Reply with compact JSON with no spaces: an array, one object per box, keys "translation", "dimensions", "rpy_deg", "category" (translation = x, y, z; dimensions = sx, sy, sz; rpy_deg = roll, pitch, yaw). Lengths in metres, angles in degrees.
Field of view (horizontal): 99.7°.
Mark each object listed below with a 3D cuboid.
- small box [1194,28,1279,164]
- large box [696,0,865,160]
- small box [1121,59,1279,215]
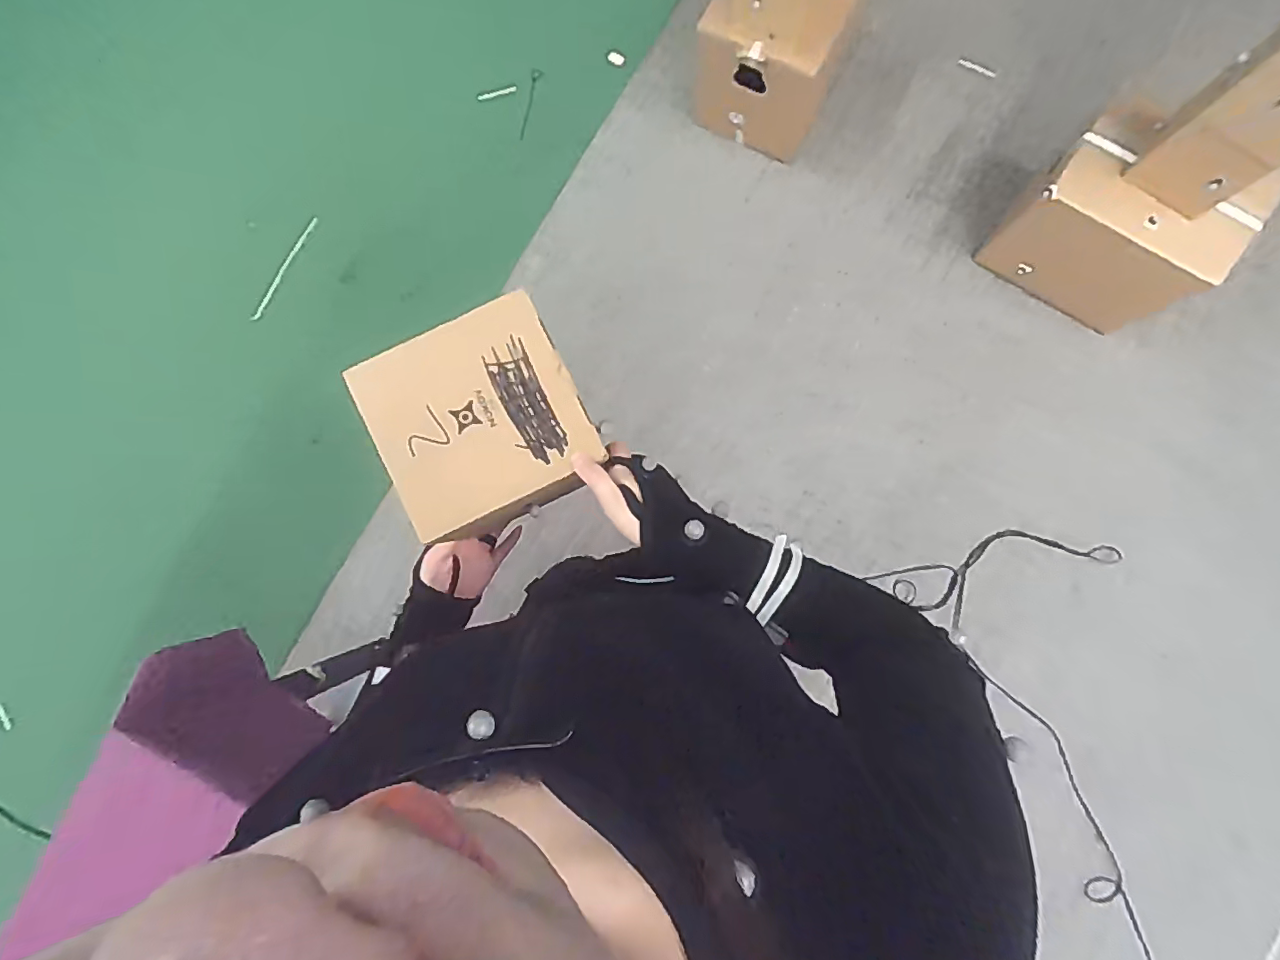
[{"translation":[1.138,-0.684,0.922],"dimensions":[0.179,0.176,0.168],"rpy_deg":[40,87,7],"category":"small box"},{"translation":[0.370,-1.165,1.431],"dimensions":[0.320,0.320,0.408],"rpy_deg":[28,87,6],"category":"large box"},{"translation":[1.148,-0.672,1.085],"dimensions":[0.179,0.176,0.168],"rpy_deg":[38,87,6],"category":"small box"}]
